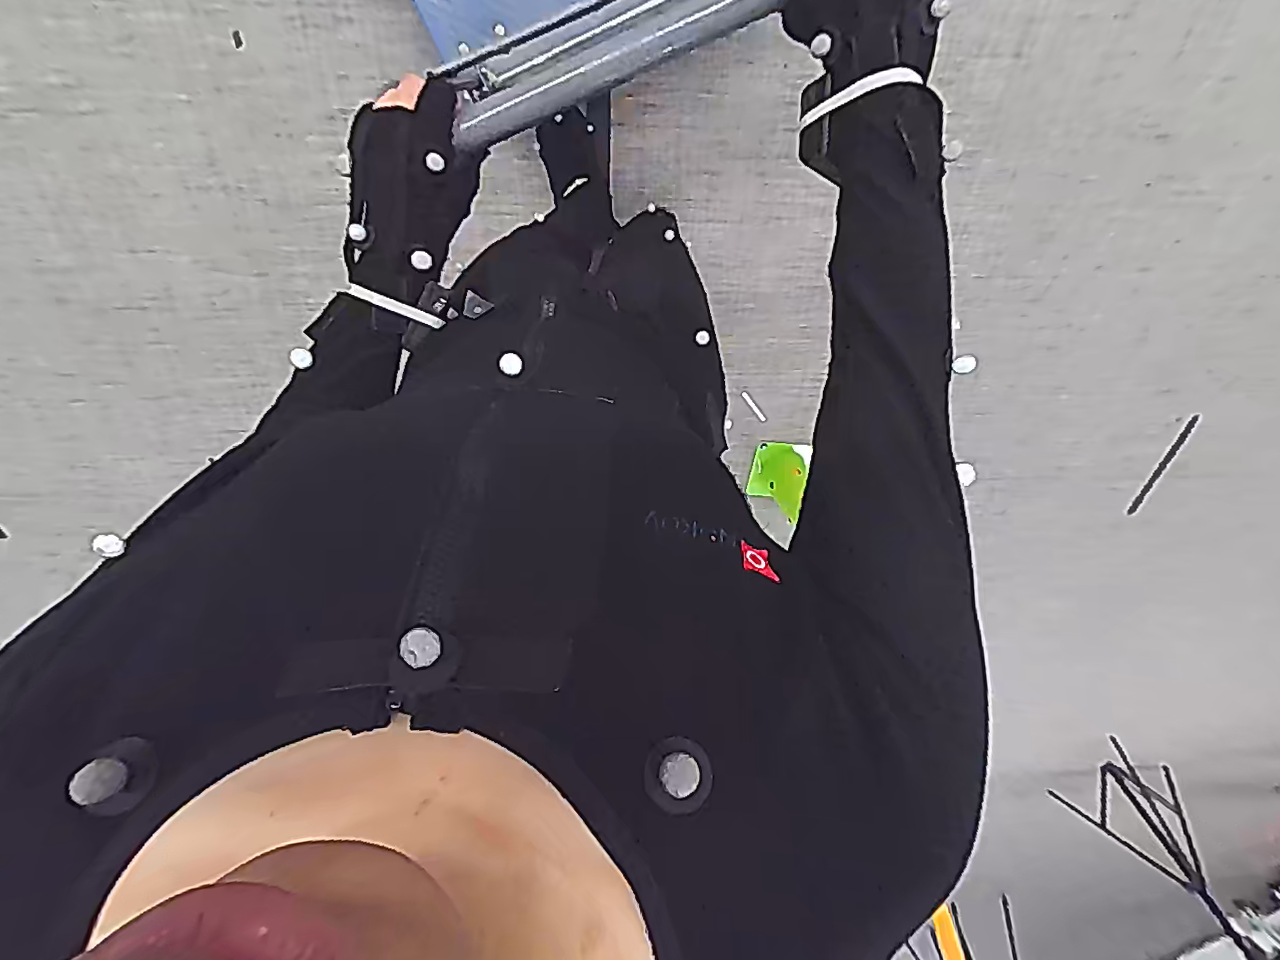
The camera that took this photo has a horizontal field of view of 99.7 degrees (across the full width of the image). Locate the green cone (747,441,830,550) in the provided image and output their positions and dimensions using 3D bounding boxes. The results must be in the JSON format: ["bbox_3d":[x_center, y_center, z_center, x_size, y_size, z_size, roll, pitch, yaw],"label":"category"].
[{"bbox_3d":[0.458,0.066,1.556,0.202,0.368,0.200,2,126,-7],"label":"green cone"}]
